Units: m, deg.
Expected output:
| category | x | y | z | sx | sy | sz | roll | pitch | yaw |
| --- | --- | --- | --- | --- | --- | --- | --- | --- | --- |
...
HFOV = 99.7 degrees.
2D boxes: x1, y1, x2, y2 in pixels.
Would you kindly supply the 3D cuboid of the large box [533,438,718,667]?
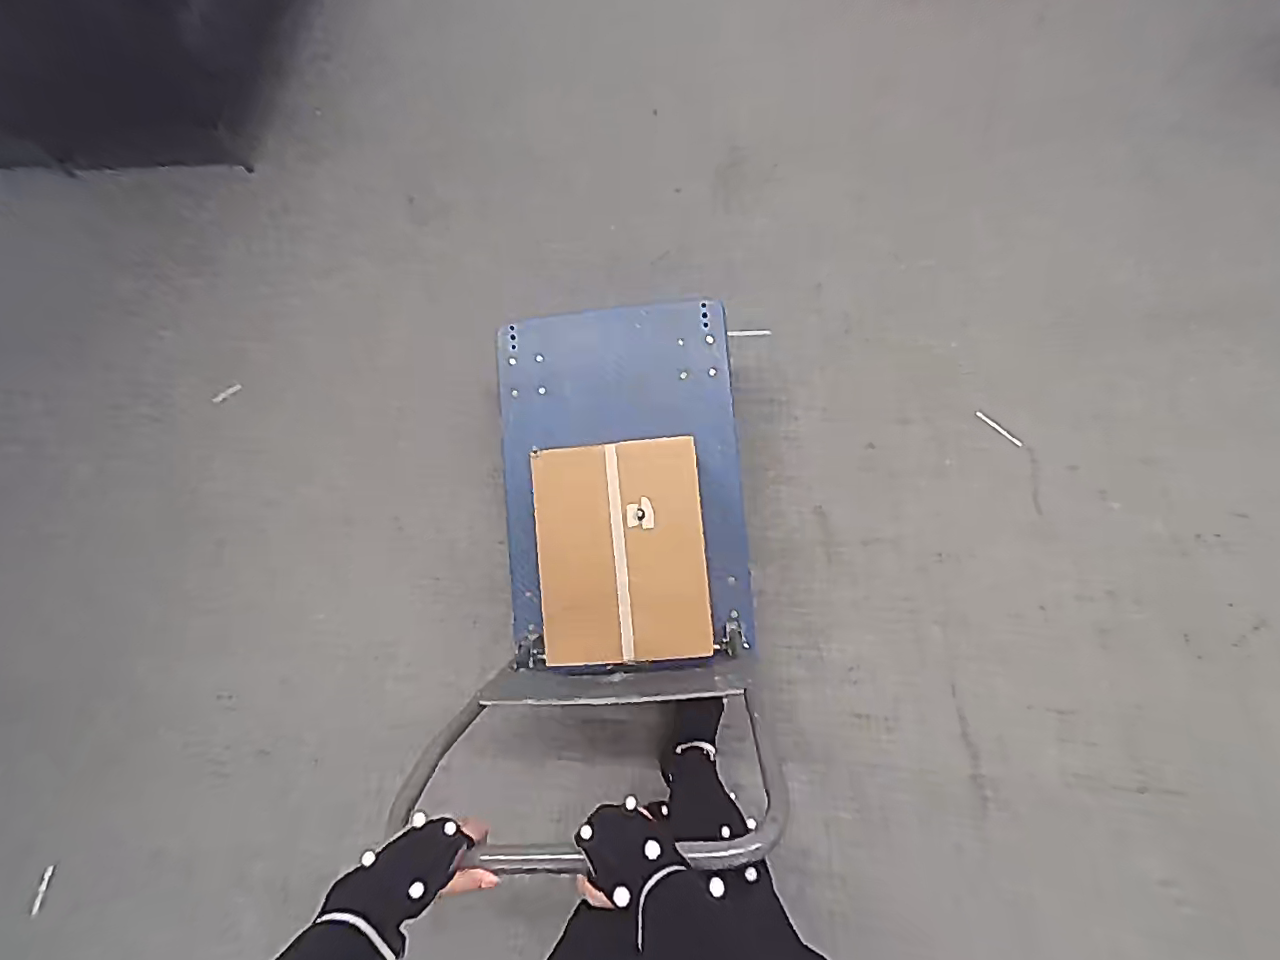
| category | x | y | z | sx | sy | sz | roll | pitch | yaw |
| --- | --- | --- | --- | --- | --- | --- | --- | --- | --- |
| large box | -0.015 | 0.144 | 1.141 | 0.320 | 0.320 | 0.408 | -6 | 86 | 5 |
